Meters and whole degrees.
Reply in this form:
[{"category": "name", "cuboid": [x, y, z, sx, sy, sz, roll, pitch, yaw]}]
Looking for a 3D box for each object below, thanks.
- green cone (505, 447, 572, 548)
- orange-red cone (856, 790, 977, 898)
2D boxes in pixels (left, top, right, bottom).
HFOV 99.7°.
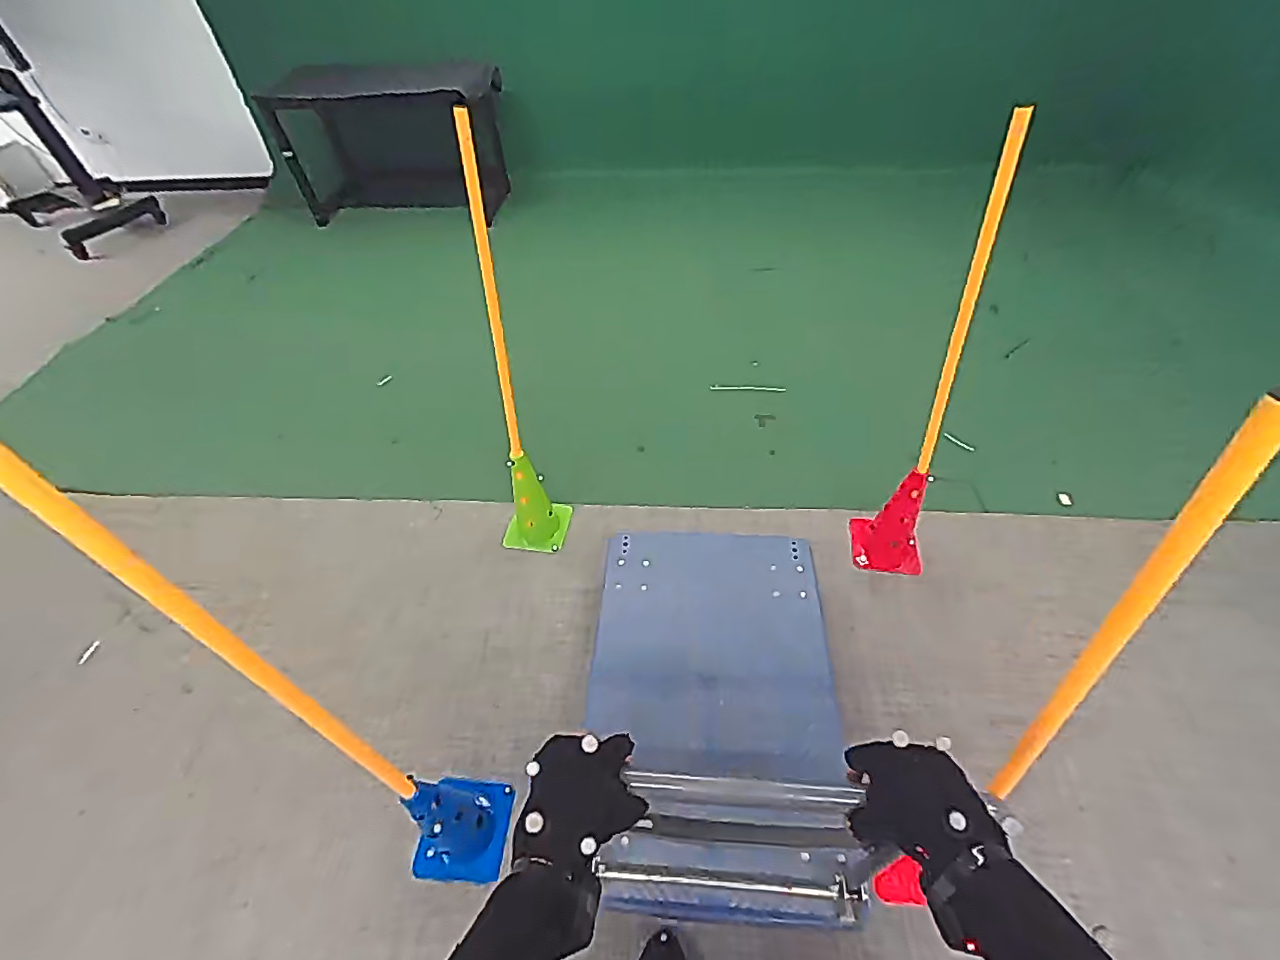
[{"category": "green cone", "cuboid": [-0.356, 0.032, 1.727, 0.202, 0.368, 0.200, 4, 48, 8]}, {"category": "orange-red cone", "cuboid": [0.587, 0.694, 1.084, 0.199, 0.360, 0.198, 0, 48, 6]}]
